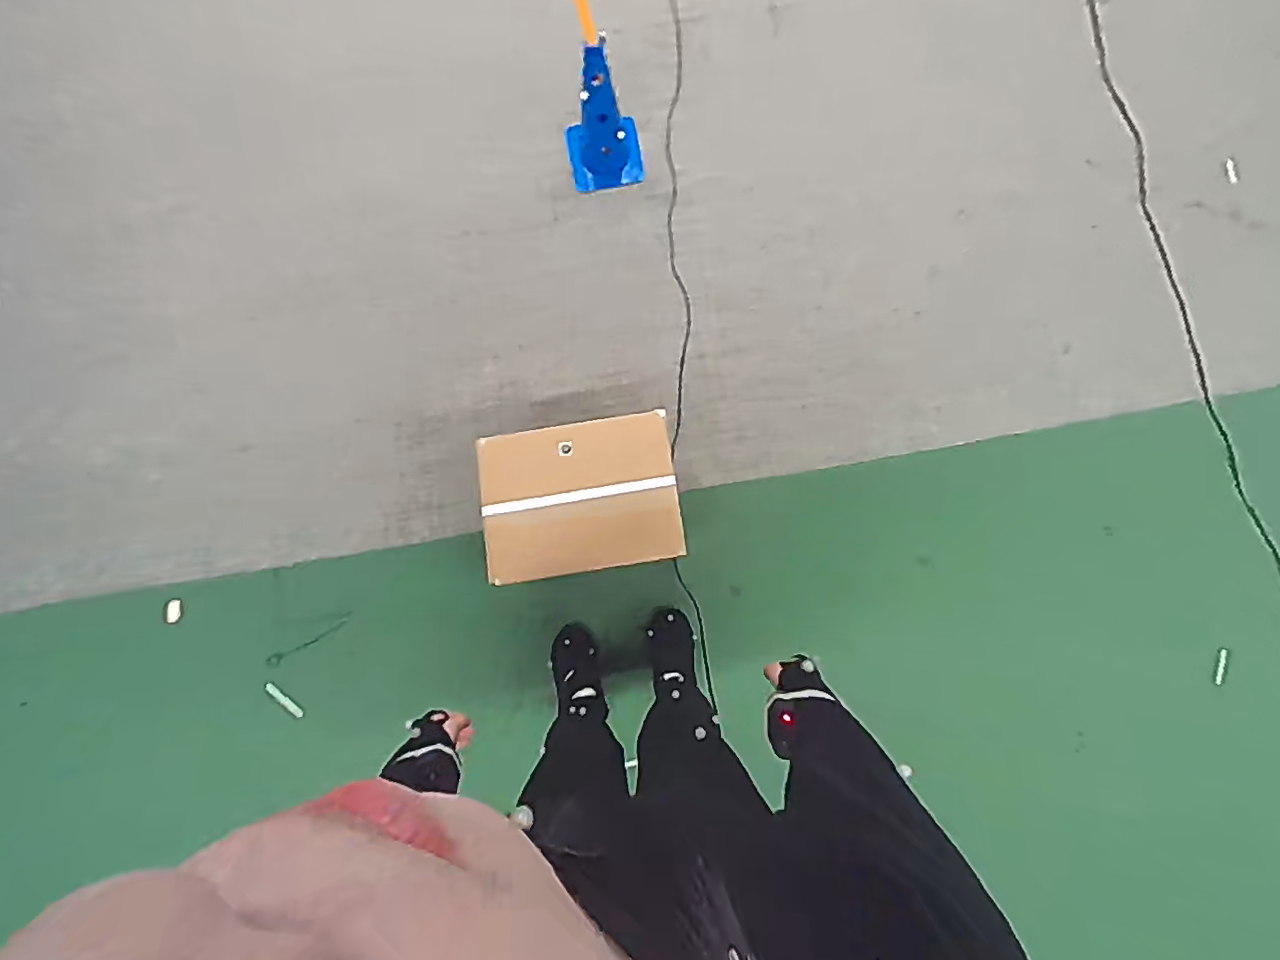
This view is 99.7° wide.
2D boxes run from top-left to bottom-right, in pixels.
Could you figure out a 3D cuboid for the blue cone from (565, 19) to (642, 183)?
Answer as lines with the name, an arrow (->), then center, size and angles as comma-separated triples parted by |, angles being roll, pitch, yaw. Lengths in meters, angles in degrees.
blue cone -> -0.104, -0.926, 1.318 | 0.193, 0.380, 0.192 | -13, 85, 1
